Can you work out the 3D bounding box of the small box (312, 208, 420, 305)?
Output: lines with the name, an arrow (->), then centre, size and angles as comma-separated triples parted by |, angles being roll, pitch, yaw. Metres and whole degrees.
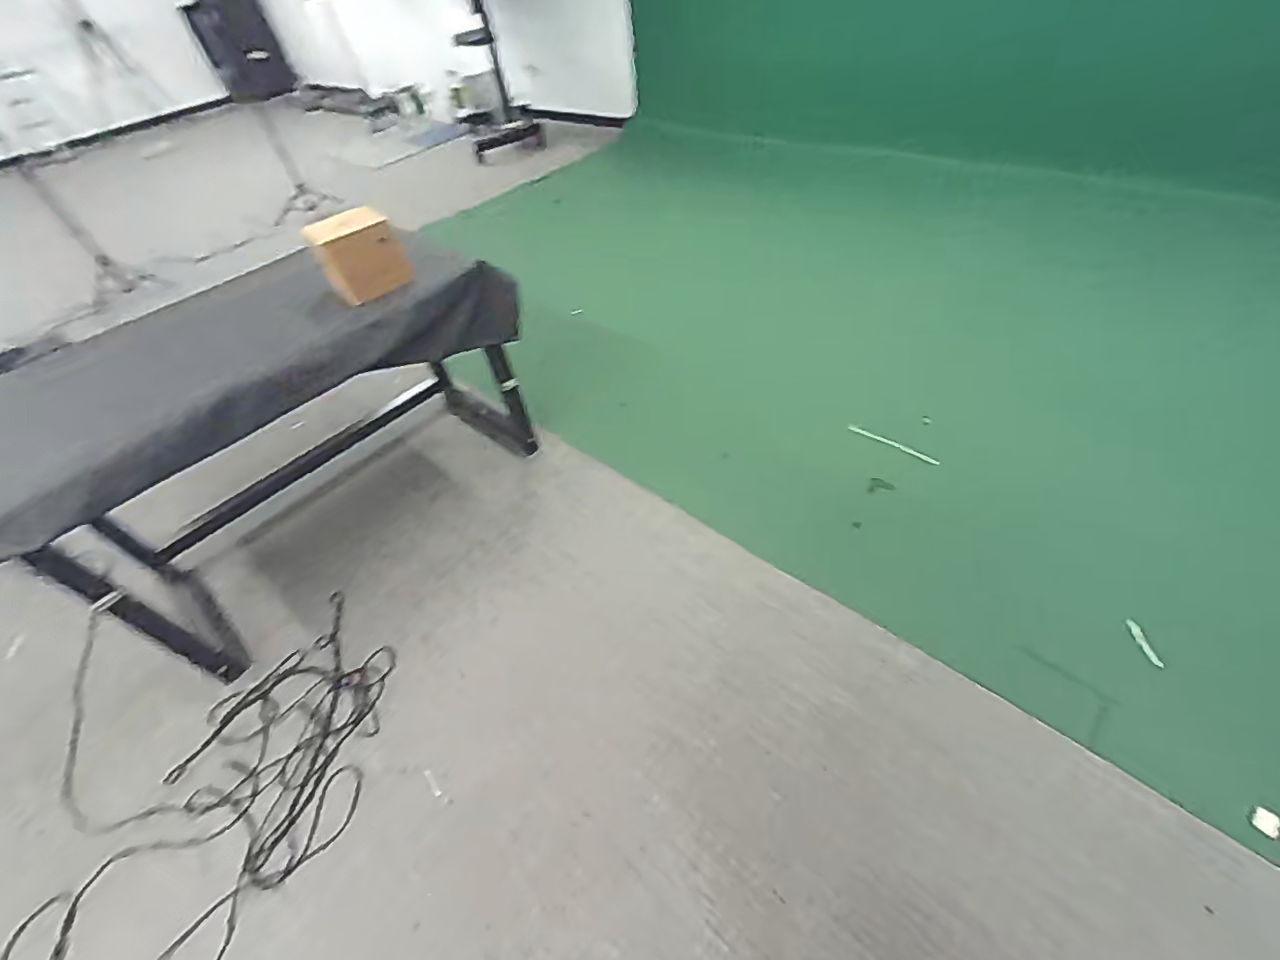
small box -> -0.715, -0.586, 1.424 | 0.179, 0.176, 0.168 | -35, 51, -23
